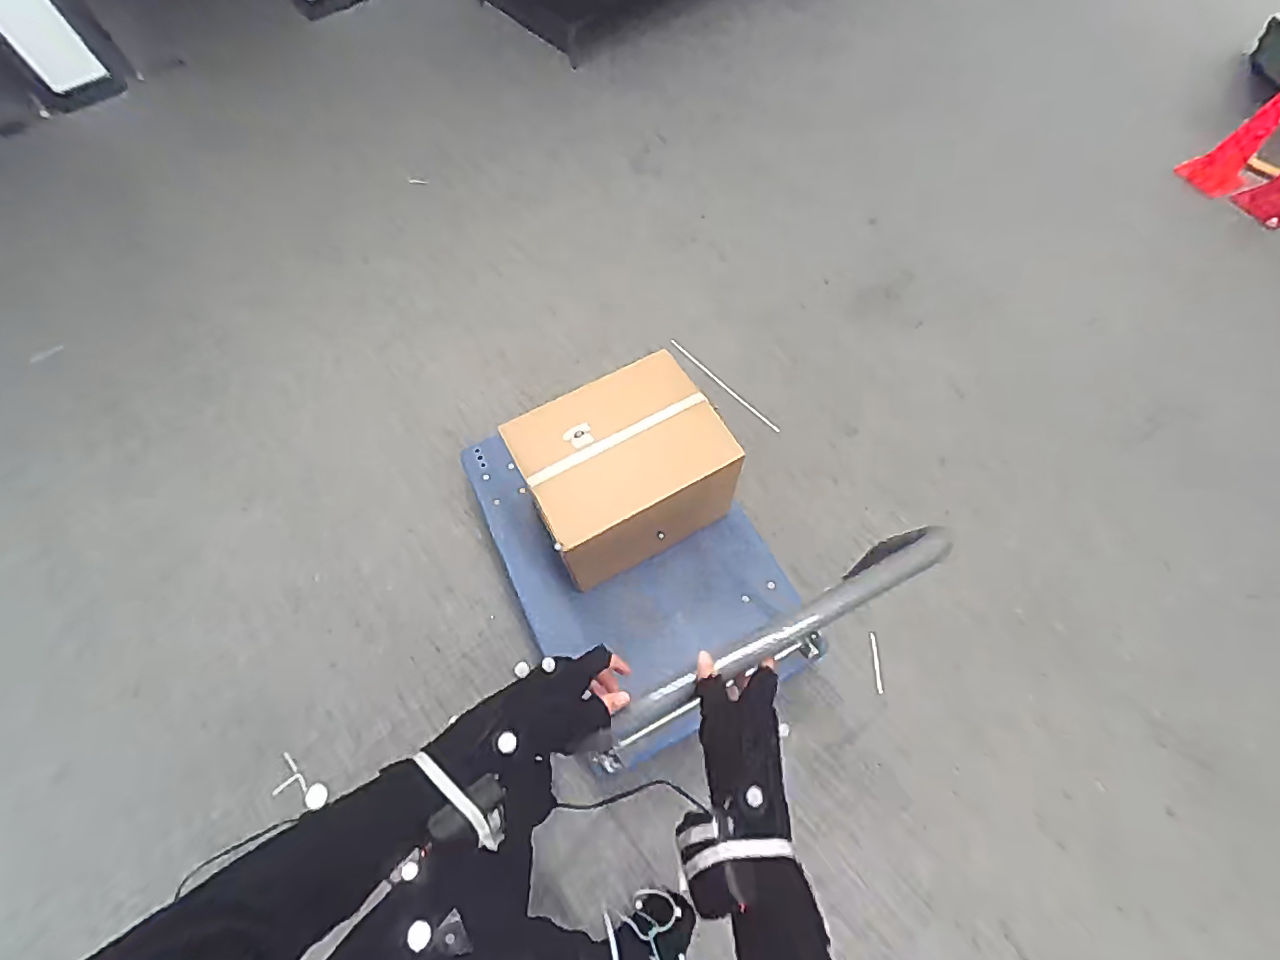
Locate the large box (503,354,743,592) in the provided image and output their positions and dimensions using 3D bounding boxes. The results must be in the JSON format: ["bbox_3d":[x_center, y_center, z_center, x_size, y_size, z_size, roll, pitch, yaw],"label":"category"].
[{"bbox_3d":[-0.031,-0.005,1.224,0.408,0.320,0.320,-28,65,-10],"label":"large box"}]
